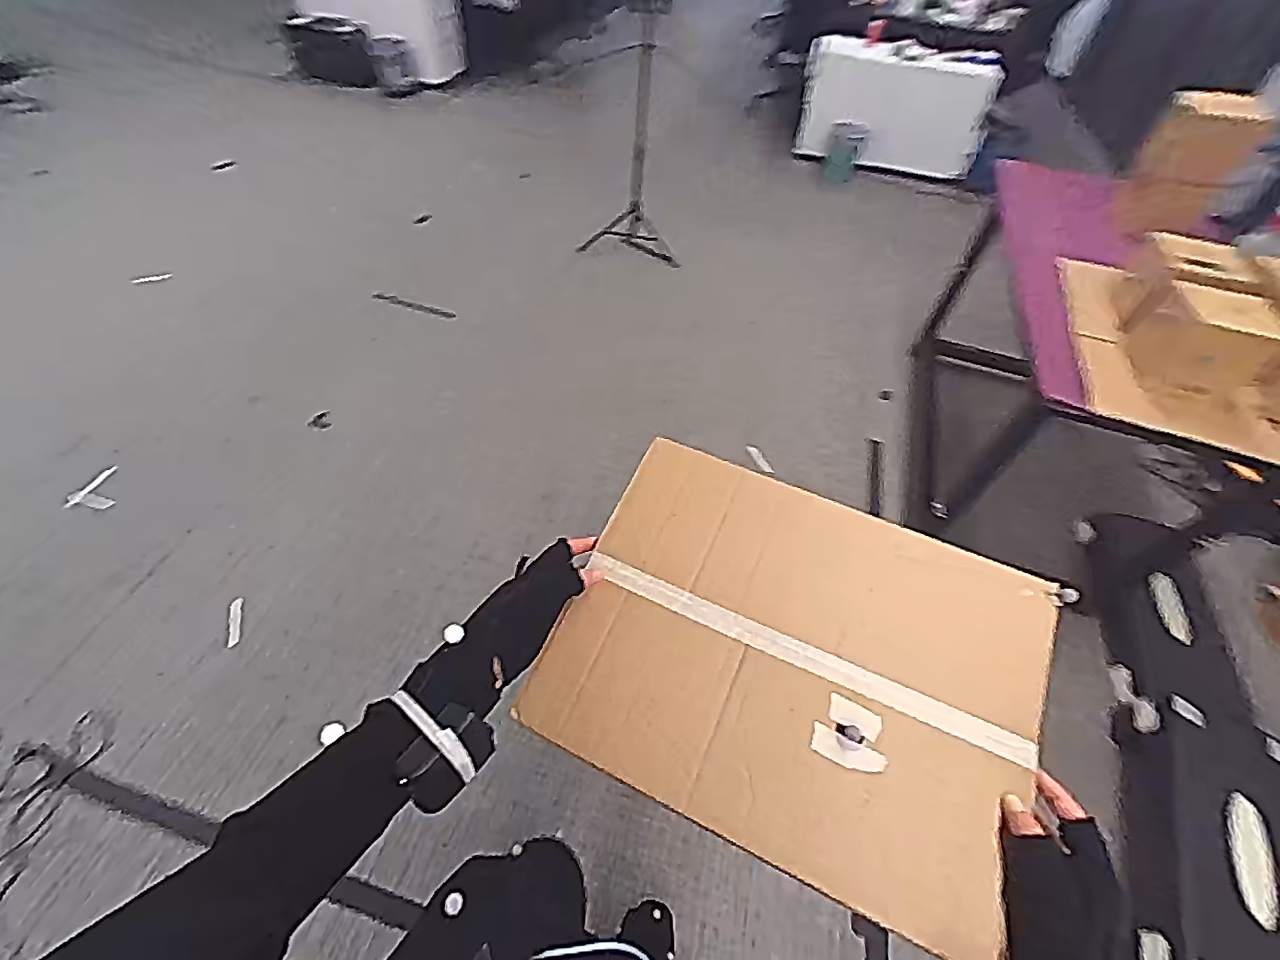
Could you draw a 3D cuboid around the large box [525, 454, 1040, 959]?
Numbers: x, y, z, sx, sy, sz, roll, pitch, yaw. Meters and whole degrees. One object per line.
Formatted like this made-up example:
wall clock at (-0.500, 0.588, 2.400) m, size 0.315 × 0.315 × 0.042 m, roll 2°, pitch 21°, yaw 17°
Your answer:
large box at (0.143, 0.228, 0.627) m, size 0.408 × 0.320 × 0.320 m, roll 22°, pitch 67°, yaw 14°
